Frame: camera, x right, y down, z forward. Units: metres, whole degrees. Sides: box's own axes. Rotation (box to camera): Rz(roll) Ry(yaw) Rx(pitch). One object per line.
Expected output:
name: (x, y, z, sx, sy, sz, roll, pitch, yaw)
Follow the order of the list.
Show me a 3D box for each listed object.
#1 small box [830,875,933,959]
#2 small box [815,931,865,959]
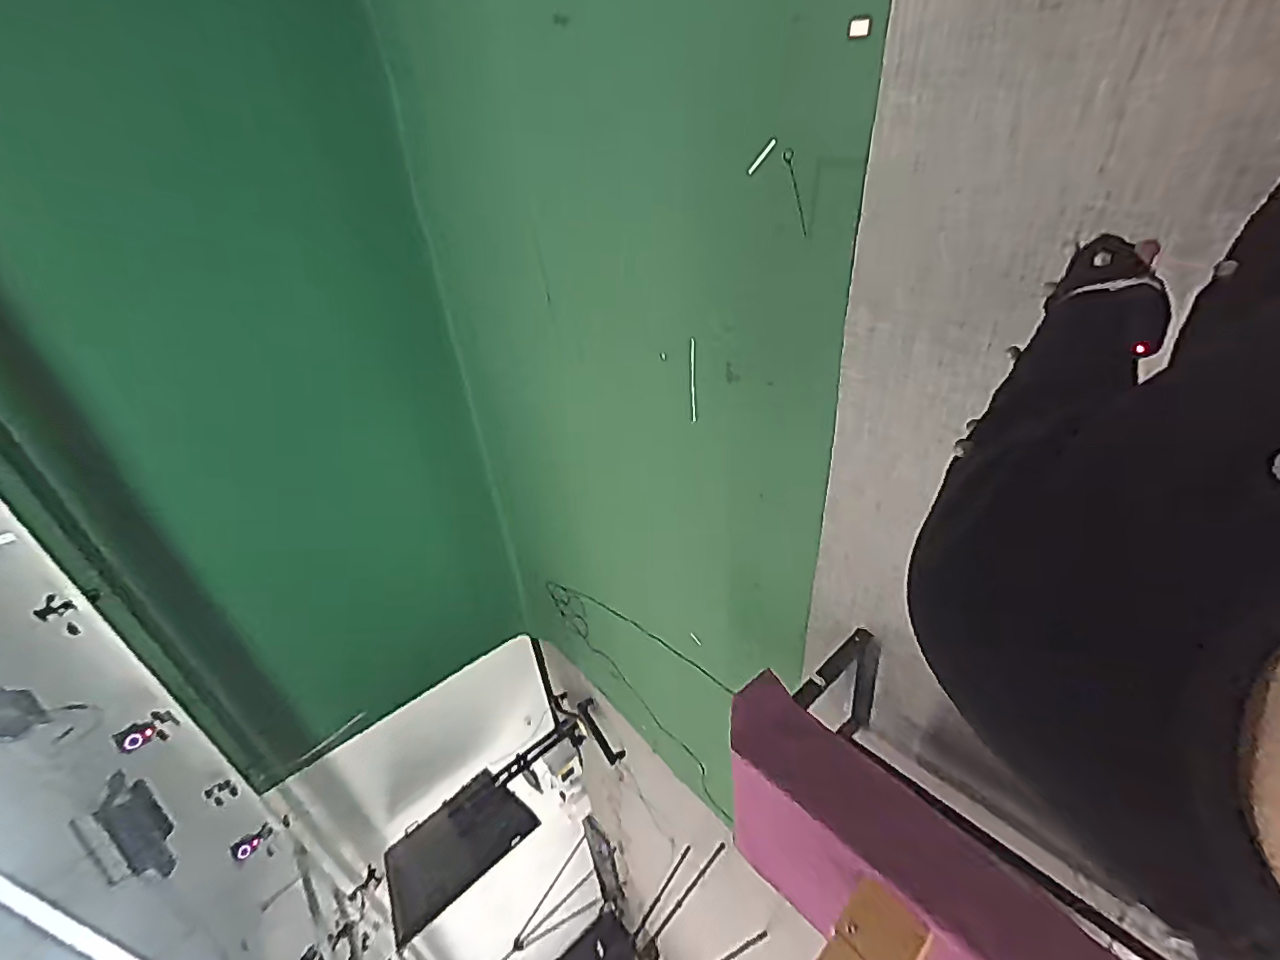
small box: (0.595, 1.144, 1.343, 0.179, 0.176, 0.168, 28, 136, 43)
small box: (0.475, 1.214, 1.254, 0.179, 0.176, 0.168, 31, 137, 40)
